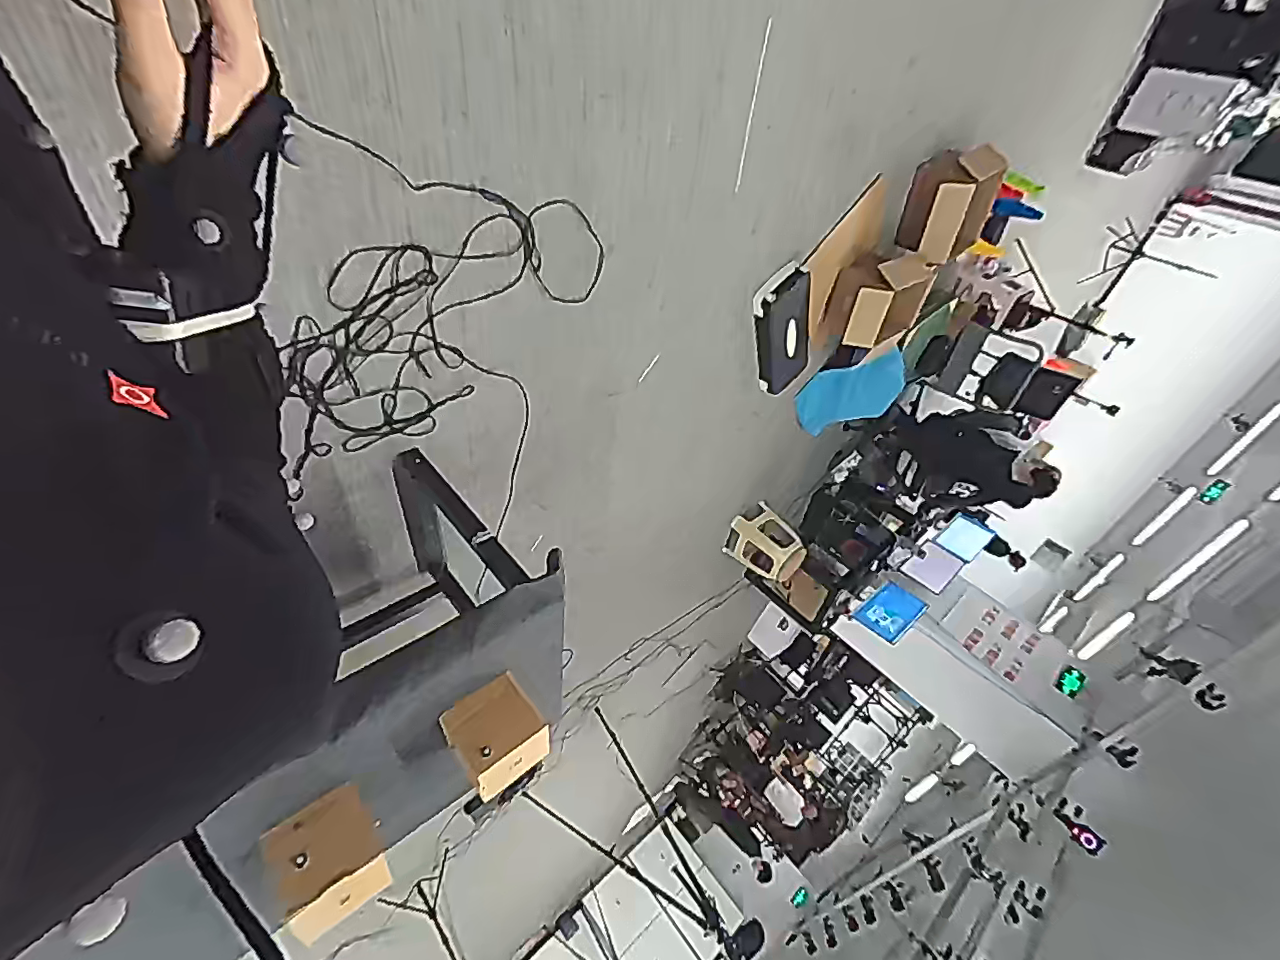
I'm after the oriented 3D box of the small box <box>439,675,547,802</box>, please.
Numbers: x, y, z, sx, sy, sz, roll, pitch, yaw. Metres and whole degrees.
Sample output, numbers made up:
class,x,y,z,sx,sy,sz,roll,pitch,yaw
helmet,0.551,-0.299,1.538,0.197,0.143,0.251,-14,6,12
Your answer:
class,x,y,z,sx,sy,sz,roll,pitch,yaw
small box,-0.334,0.585,1.242,0.179,0.176,0.168,-27,143,-32

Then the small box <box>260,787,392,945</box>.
class,x,y,z,sx,sy,sz,roll,pitch,yaw
small box,-0.610,0.741,1.055,0.168,0.176,0.179,-23,141,-36
